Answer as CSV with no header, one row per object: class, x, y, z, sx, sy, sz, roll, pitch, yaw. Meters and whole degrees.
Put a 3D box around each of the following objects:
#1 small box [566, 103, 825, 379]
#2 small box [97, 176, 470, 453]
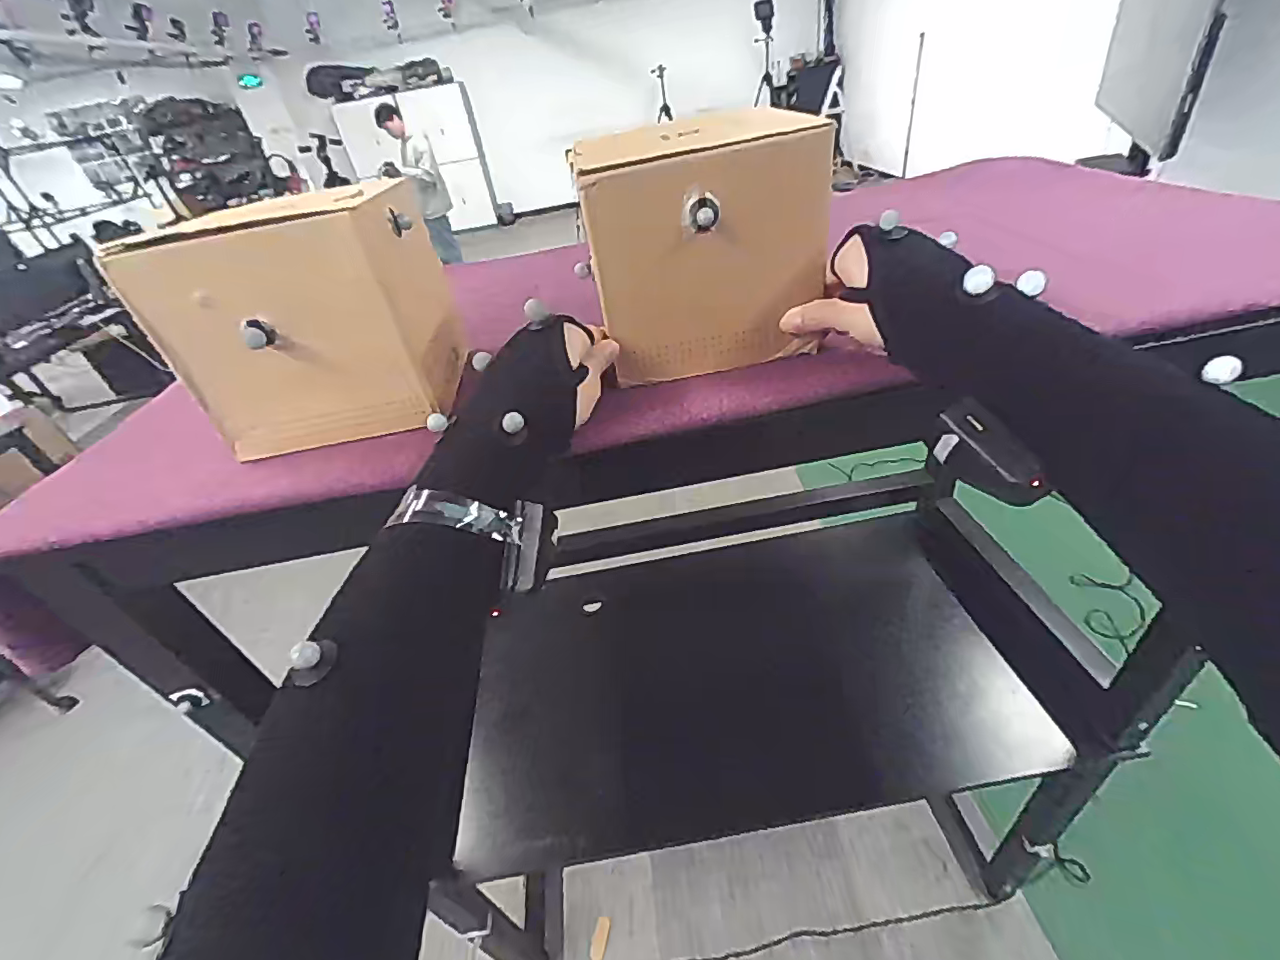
small box,0.043,-0.202,0.460,0.179,0.176,0.168,-11,38,1
small box,-0.268,-0.141,0.463,0.179,0.176,0.168,-13,36,-1
